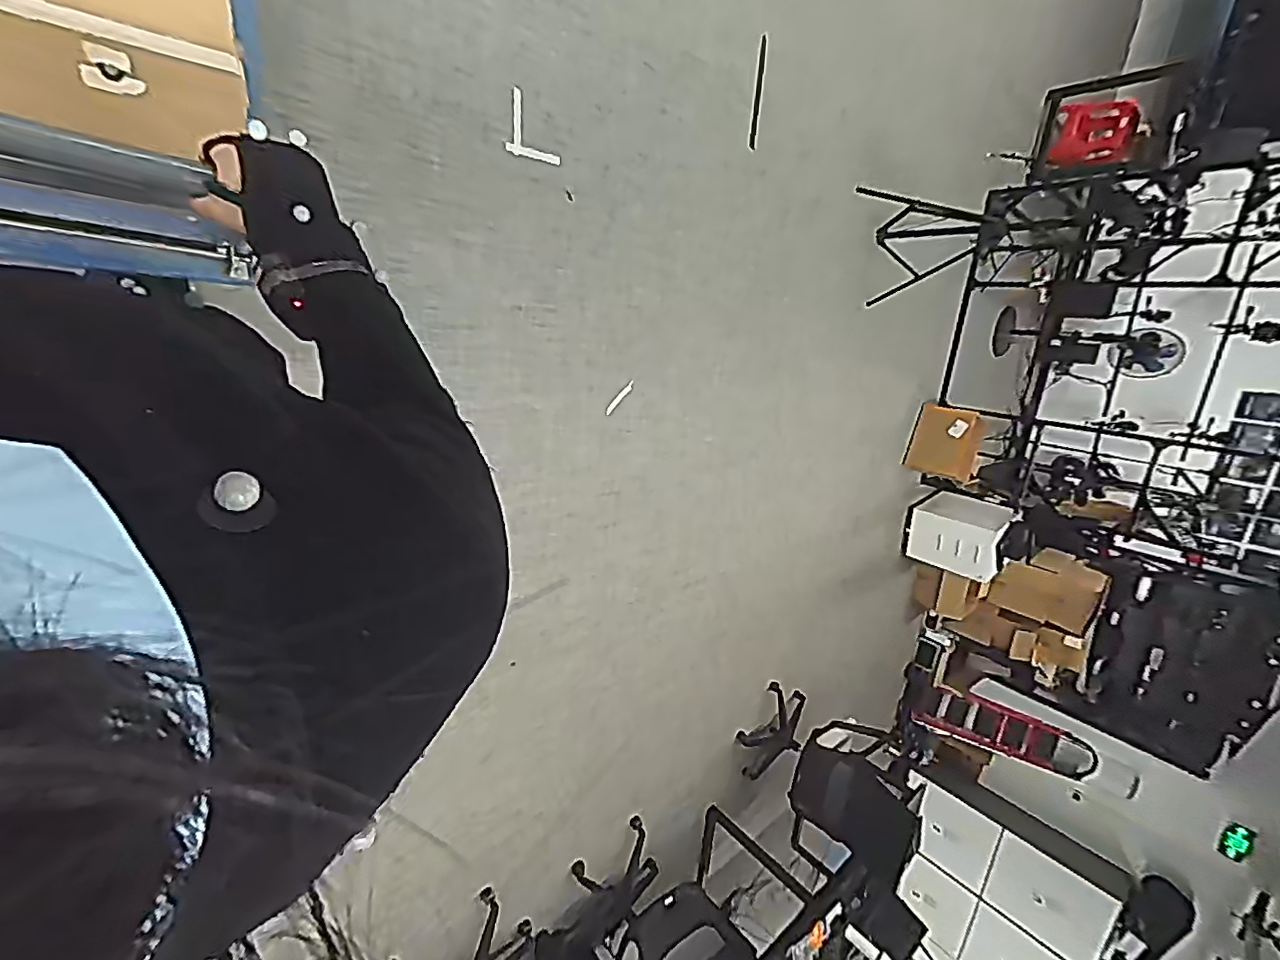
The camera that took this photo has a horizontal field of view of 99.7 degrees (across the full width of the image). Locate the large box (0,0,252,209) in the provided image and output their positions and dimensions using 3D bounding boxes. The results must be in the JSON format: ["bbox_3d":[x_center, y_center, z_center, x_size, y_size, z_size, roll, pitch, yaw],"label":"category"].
[{"bbox_3d":[-0.807,-0.576,0.720,0.408,0.320,0.320,-12,113,-42],"label":"large box"}]
